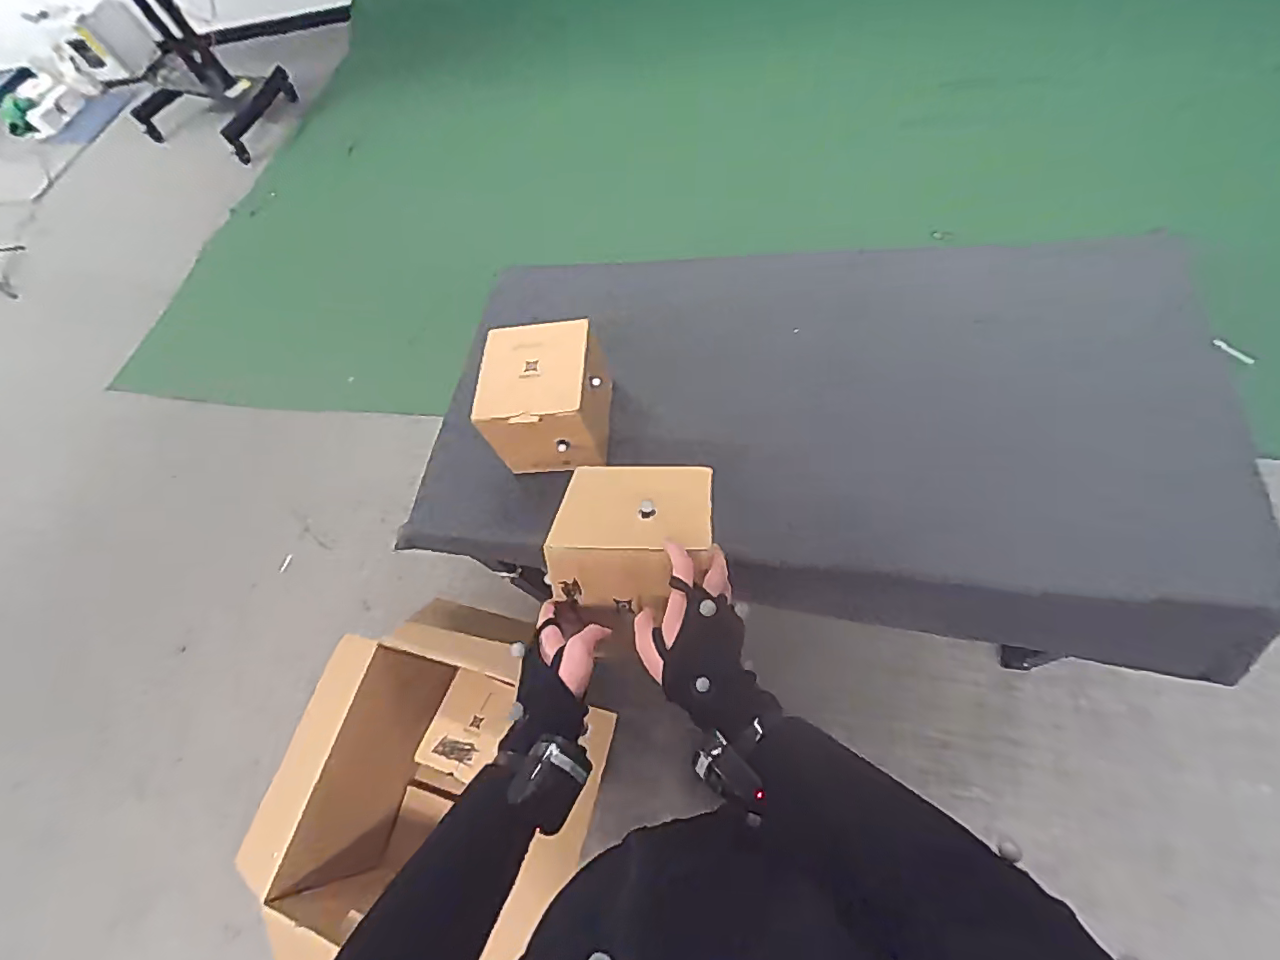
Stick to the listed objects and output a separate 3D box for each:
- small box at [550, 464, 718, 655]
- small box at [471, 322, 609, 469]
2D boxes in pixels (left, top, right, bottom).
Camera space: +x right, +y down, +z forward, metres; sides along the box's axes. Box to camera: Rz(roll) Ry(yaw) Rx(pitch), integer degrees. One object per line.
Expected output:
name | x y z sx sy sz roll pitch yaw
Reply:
small box | 0.002 0.090 0.659 0.179 0.168 0.176 0 31 6
small box | -0.151 -0.127 0.882 0.168 0.176 0.179 -3 61 9
